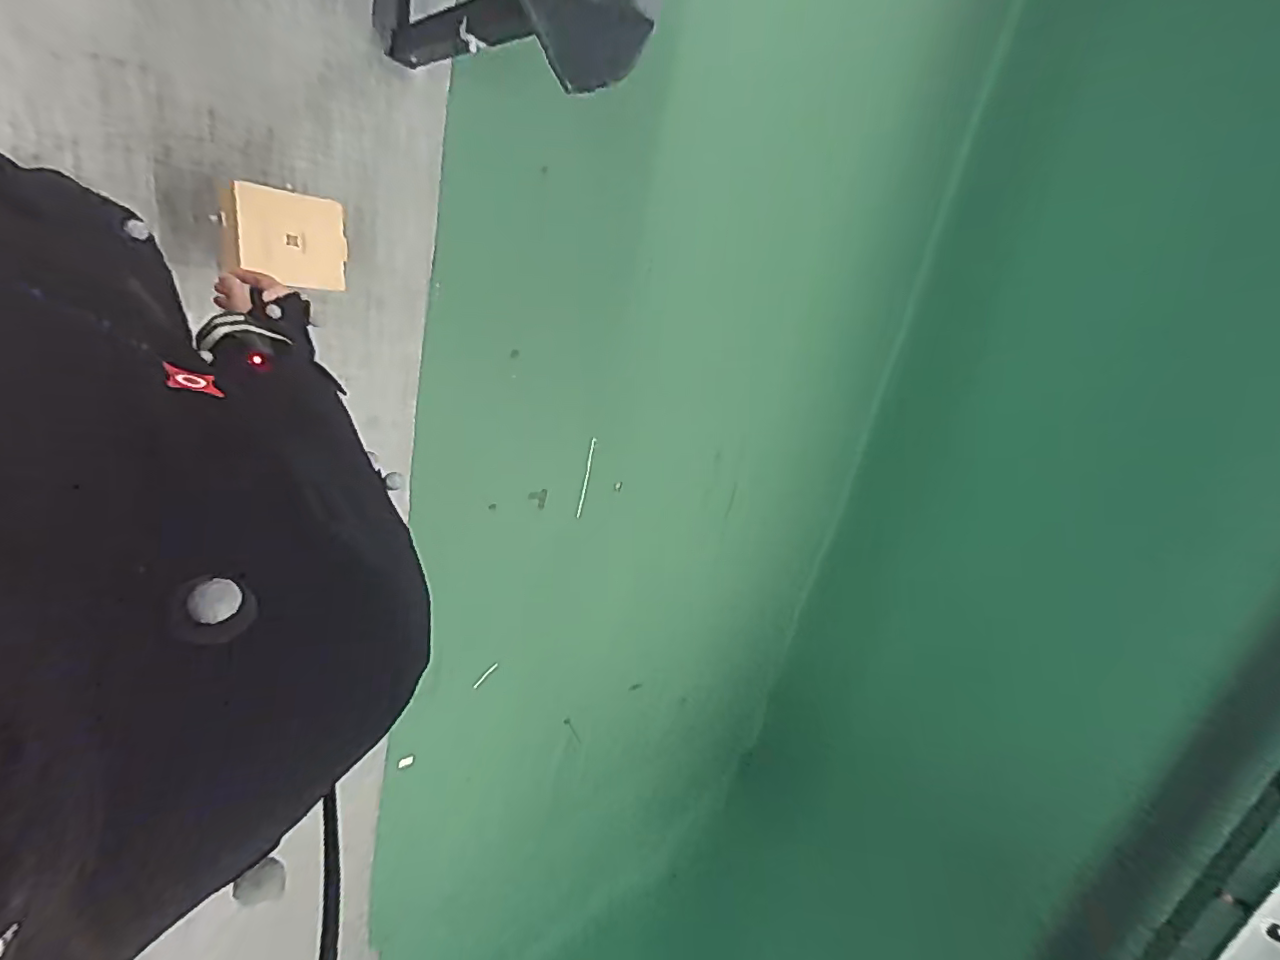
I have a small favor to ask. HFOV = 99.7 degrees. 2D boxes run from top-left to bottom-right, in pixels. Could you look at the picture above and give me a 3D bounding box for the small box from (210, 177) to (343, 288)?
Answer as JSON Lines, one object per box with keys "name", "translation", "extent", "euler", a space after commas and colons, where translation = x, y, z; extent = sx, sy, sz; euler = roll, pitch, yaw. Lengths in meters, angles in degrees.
{"name": "small box", "translation": [-0.696, -0.475, 1.041], "extent": [0.179, 0.176, 0.168], "euler": [-11, 119, -44]}
